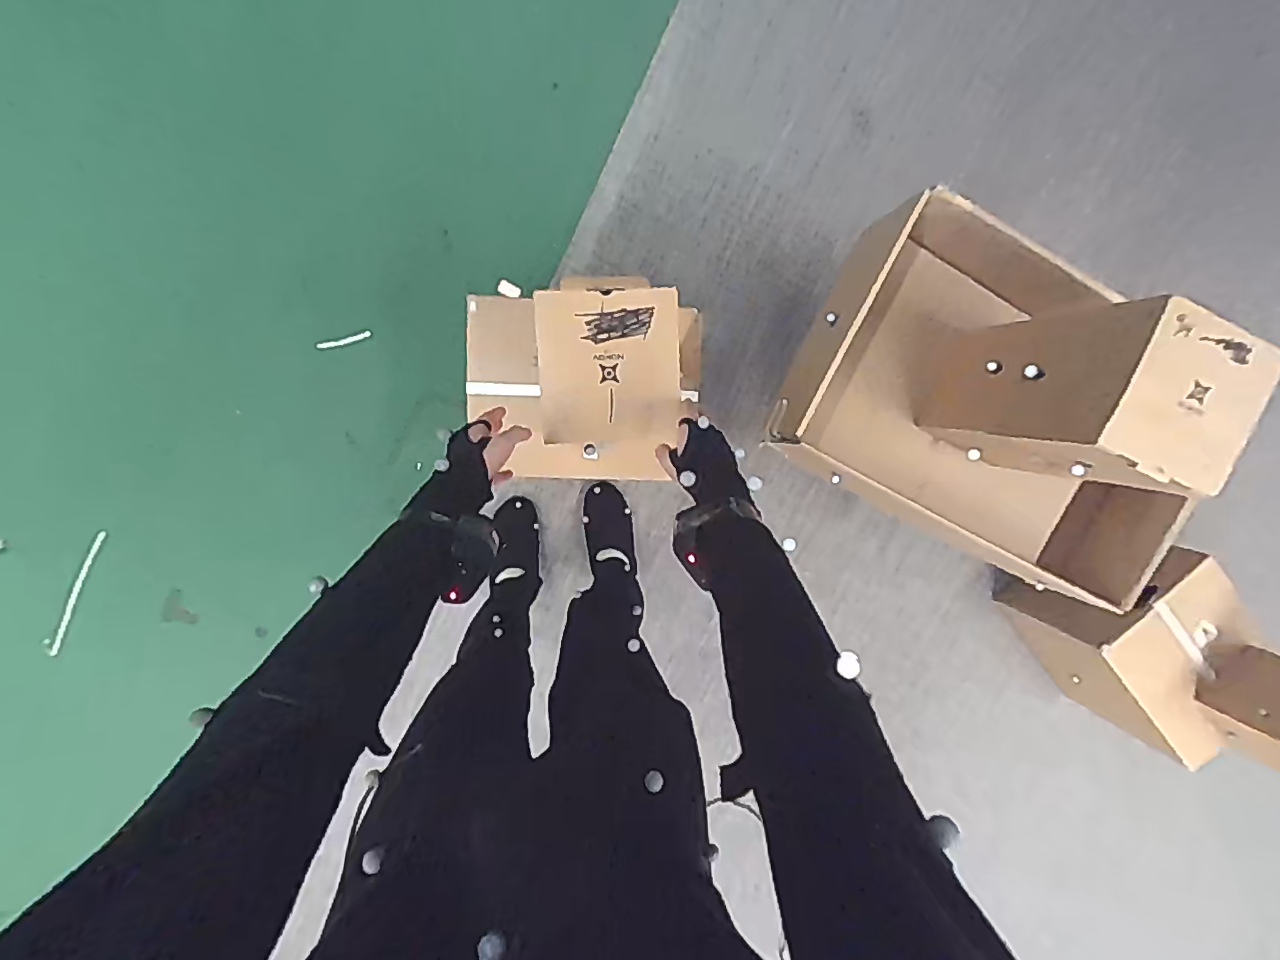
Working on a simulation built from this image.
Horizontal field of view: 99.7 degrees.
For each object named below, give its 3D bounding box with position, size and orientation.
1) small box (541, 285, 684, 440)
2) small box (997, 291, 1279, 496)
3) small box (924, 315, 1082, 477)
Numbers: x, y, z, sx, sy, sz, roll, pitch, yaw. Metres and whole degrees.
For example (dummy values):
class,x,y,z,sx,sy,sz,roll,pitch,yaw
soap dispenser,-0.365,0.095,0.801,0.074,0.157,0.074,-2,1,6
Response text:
class,x,y,z,sx,sy,sz,roll,pitch,yaw
small box,-0.038,-0.144,0.705,0.168,0.176,0.179,-3,98,-5
small box,0.589,-0.103,0.664,0.168,0.176,0.179,22,96,-8
small box,0.578,-0.125,0.826,0.168,0.176,0.179,25,96,-8
